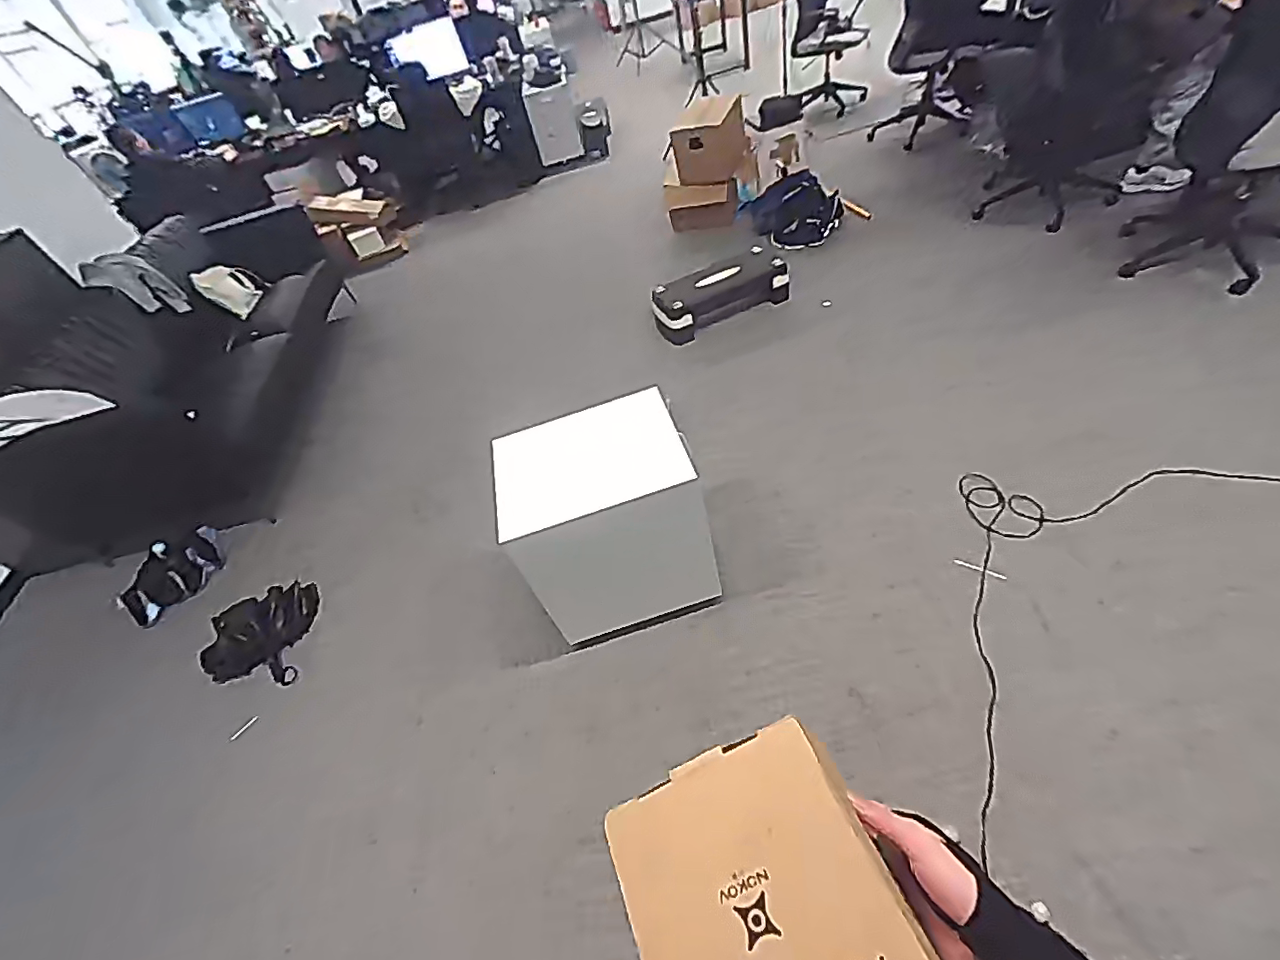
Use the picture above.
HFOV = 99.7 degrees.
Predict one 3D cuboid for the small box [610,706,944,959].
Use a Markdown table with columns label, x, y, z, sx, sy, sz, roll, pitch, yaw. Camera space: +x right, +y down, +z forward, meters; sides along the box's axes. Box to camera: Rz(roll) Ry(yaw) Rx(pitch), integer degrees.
| label | x | y | z | sx | sy | sz | roll | pitch | yaw |
| --- | --- | --- | --- | --- | --- | --- | --- | --- | --- |
| small box | 0.103 | 0.306 | 0.409 | 0.168 | 0.176 | 0.179 | -31 | 50 | 4 |
